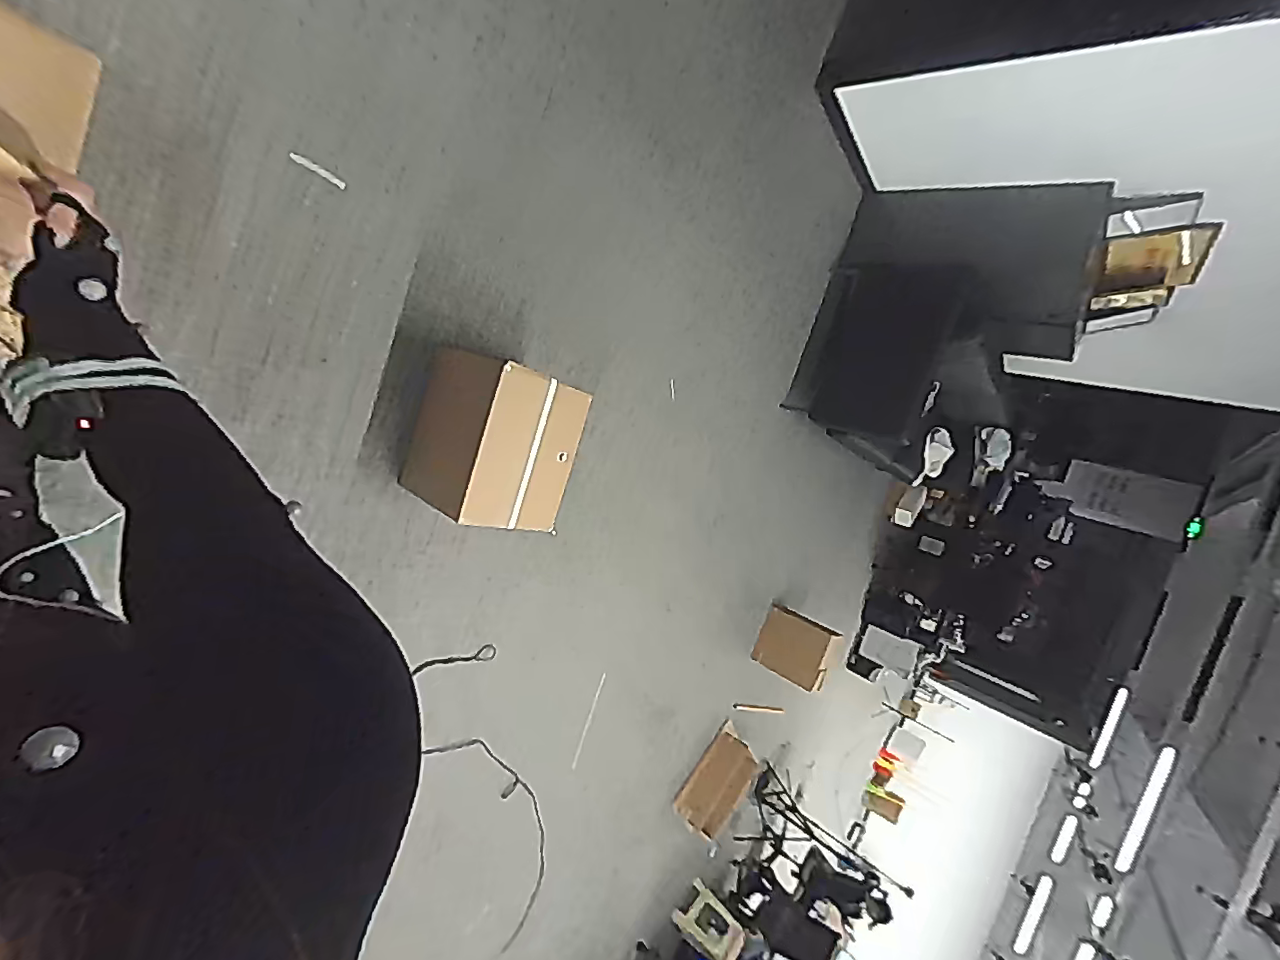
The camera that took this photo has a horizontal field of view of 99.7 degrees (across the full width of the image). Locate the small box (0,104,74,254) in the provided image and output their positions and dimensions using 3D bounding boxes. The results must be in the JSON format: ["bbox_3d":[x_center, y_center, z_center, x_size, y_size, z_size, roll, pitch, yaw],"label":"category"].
[{"bbox_3d":[-0.598,-0.258,0.396,0.179,0.176,0.168,-42,155,-8],"label":"small box"}]

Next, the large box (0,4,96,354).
[{"bbox_3d":[-0.950,-0.410,0.678,0.320,0.320,0.408,12,96,-52],"label":"large box"}]
